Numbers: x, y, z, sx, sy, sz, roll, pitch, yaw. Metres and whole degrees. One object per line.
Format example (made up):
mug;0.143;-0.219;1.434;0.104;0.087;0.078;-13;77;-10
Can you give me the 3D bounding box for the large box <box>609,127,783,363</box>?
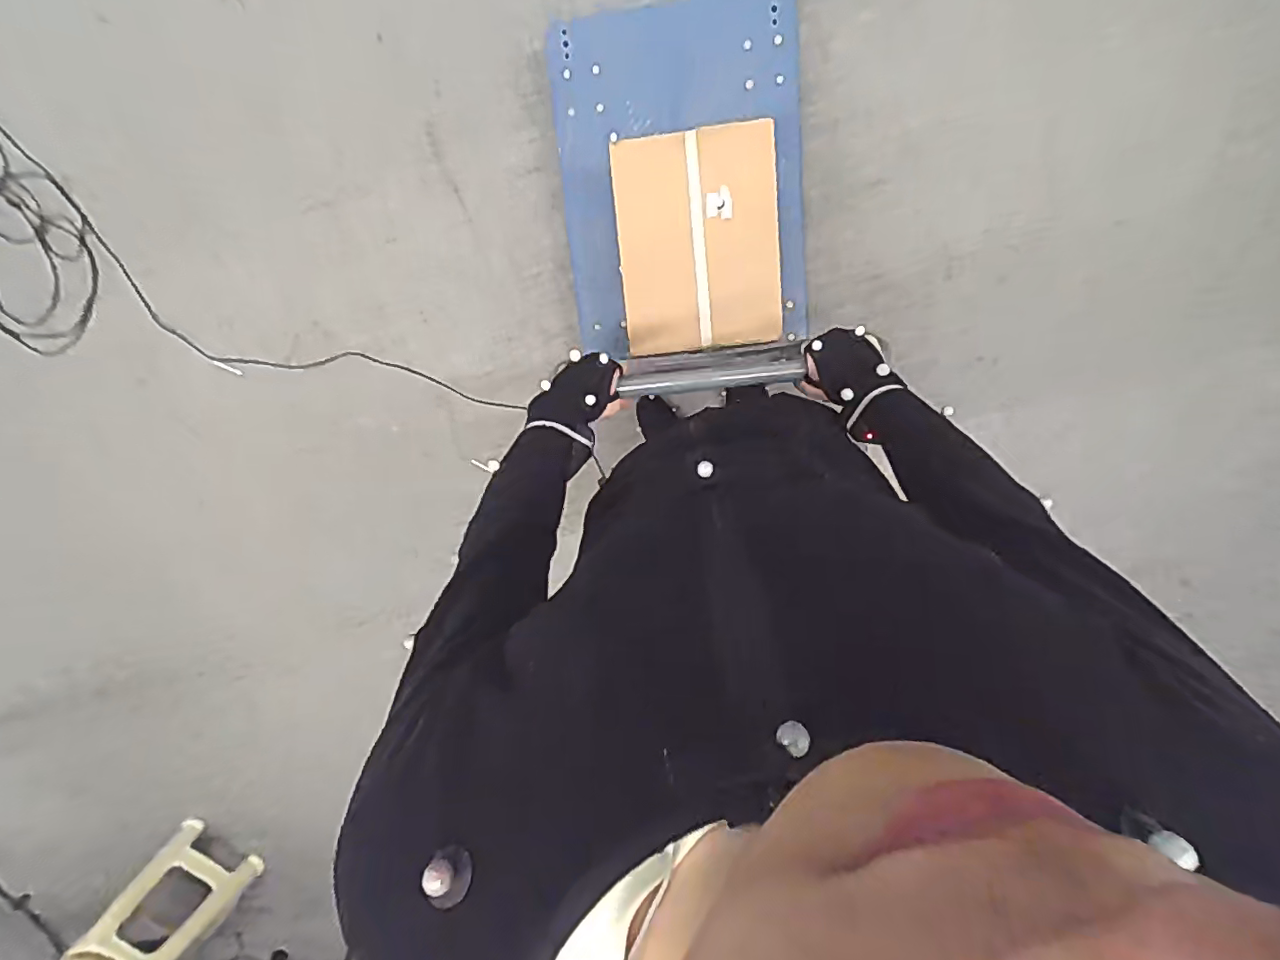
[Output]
large box;0.126;-0.484;1.210;0.320;0.320;0.408;-5;101;5
